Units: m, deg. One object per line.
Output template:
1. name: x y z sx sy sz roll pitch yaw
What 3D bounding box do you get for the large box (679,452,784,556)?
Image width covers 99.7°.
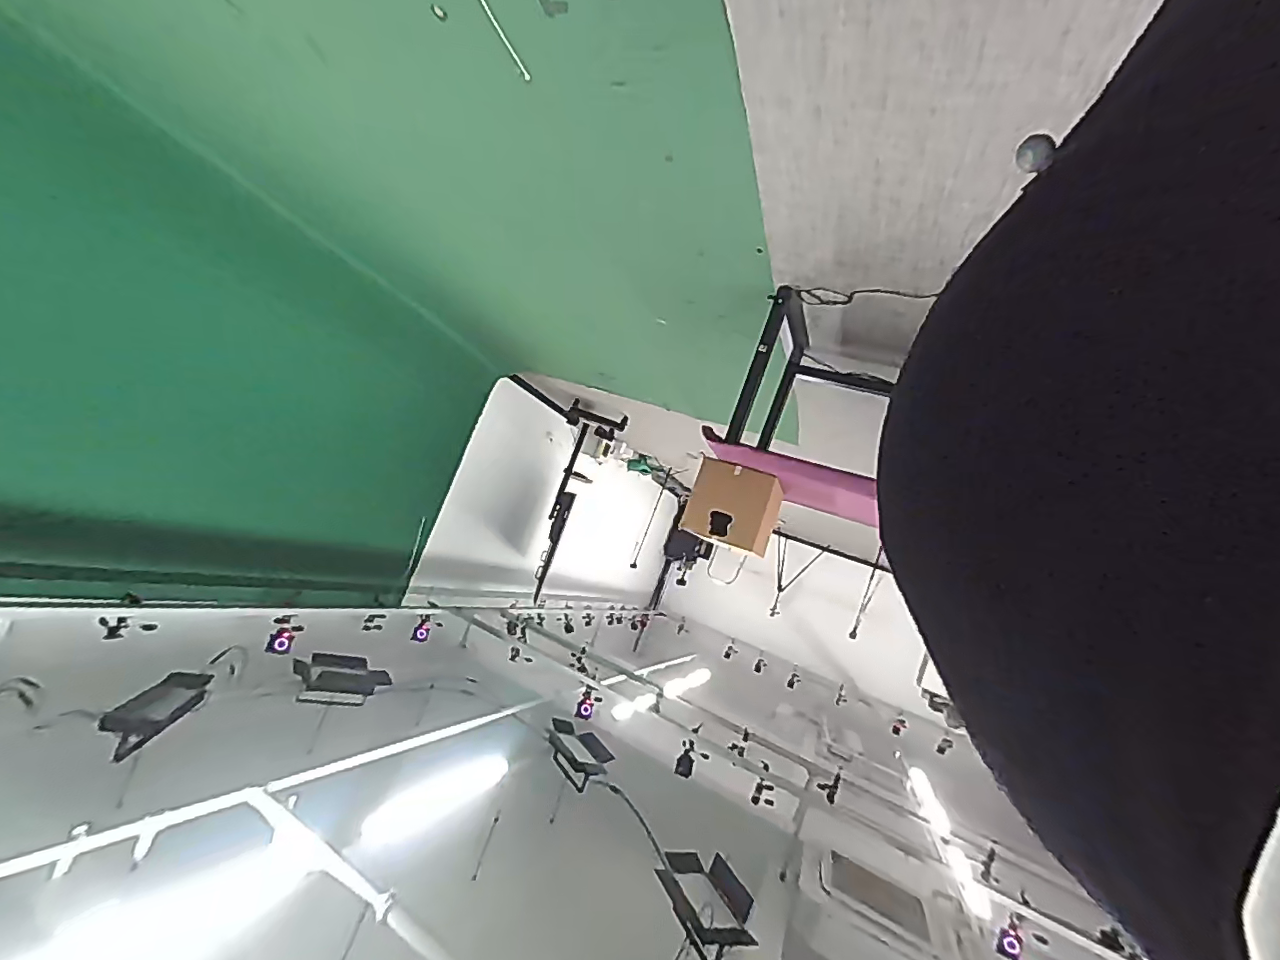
1. large box: 0.403 0.110 2.293 0.320 0.320 0.408 17 173 22
